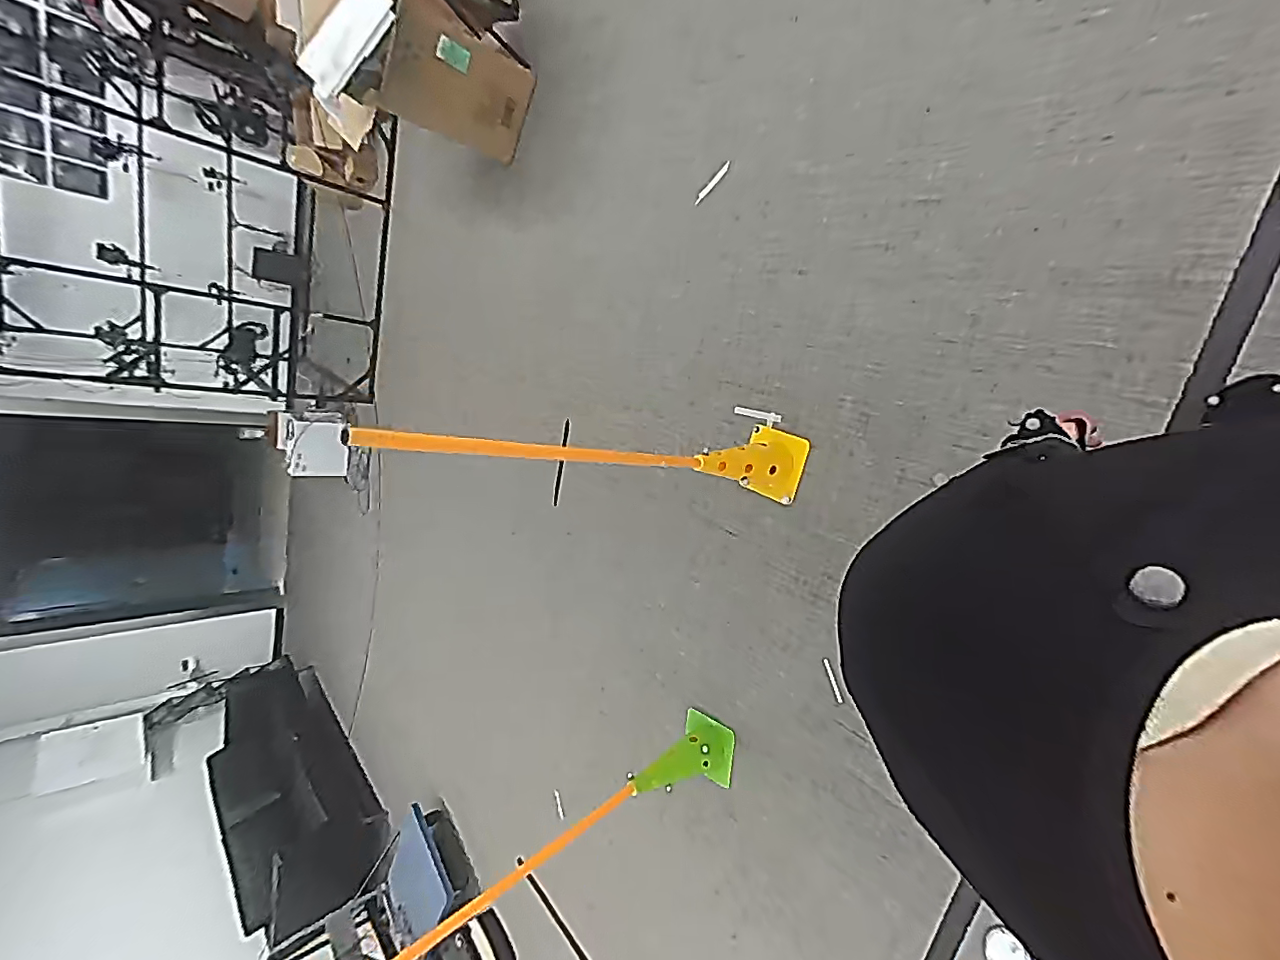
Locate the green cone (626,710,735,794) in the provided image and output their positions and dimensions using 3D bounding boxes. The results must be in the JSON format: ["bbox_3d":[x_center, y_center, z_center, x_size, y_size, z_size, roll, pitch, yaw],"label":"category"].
[{"bbox_3d":[0.103,0.892,1.676,0.200,0.368,0.202,10,96,45],"label":"green cone"}]
